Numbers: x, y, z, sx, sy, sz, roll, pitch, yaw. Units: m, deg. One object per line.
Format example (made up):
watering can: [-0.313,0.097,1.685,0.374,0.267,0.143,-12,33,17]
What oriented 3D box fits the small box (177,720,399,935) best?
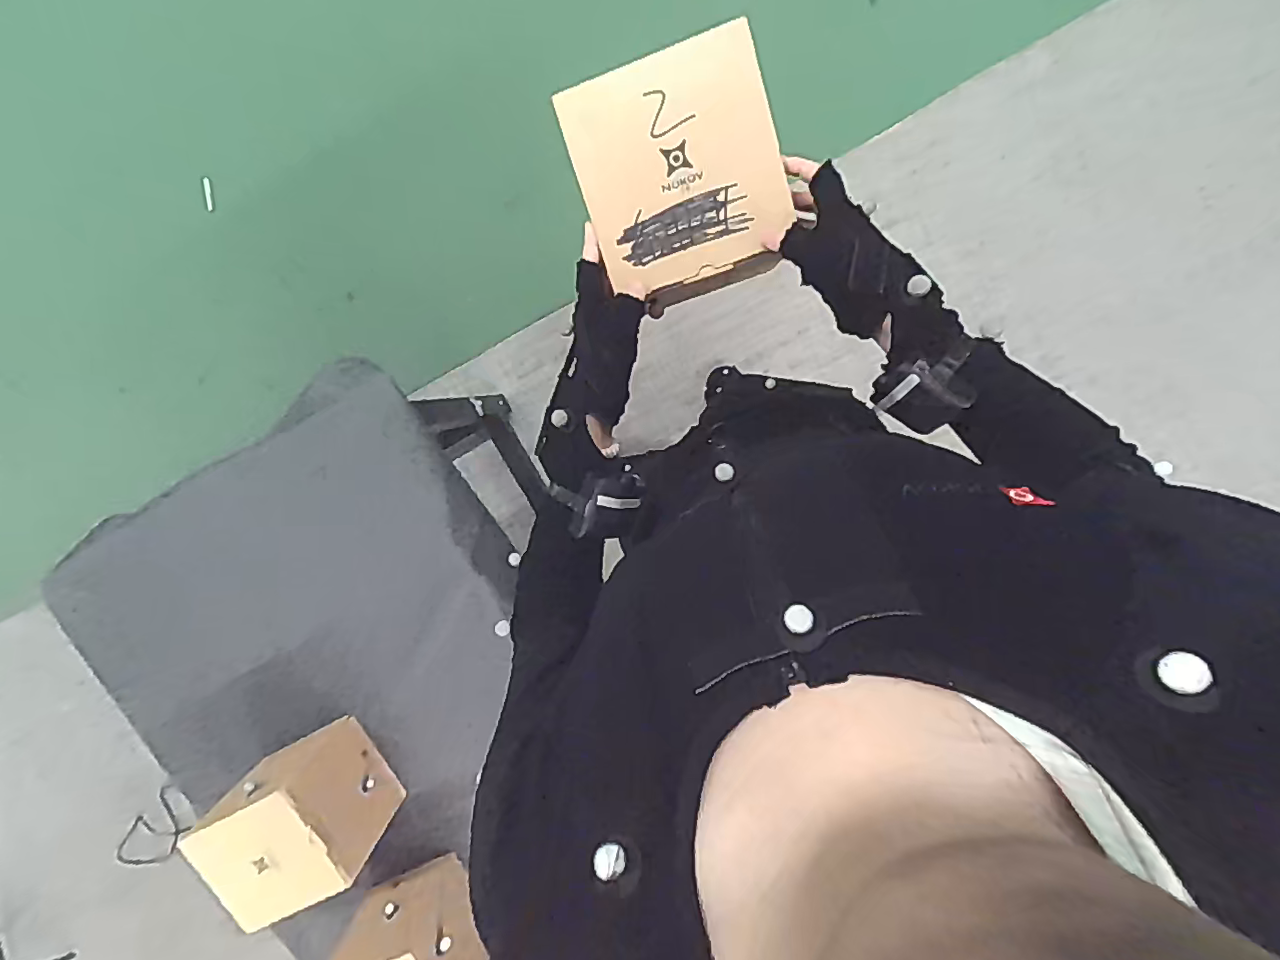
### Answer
small box: [-0.497,0.495,0.793,0.179,0.176,0.168,-28,98,5]

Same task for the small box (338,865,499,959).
small box: [-0.343,0.738,0.828,0.168,0.176,0.179,-27,98,5]
